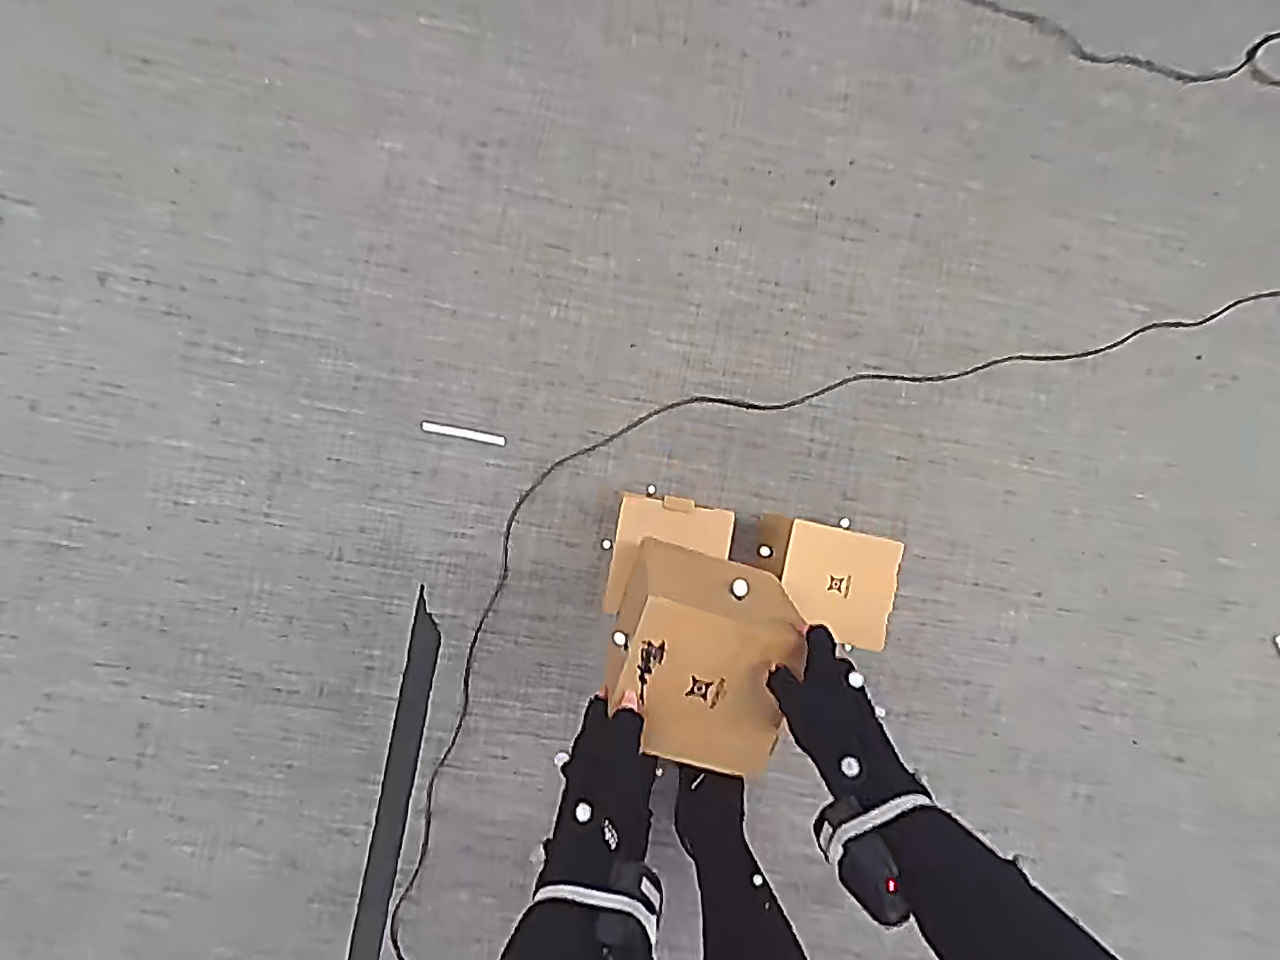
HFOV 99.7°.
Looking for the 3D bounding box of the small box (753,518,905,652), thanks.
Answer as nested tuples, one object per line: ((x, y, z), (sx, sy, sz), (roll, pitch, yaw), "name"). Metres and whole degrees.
((0.285, 0.158, 0.869), (0.179, 0.176, 0.168), (12, 88, -5), "small box")

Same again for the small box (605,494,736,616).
((0.038, 0.120, 0.849), (0.168, 0.176, 0.179), (10, 89, -3), "small box")

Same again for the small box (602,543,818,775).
((0.065, 0.188, 0.609), (0.179, 0.176, 0.168), (17, 101, -6), "small box")
